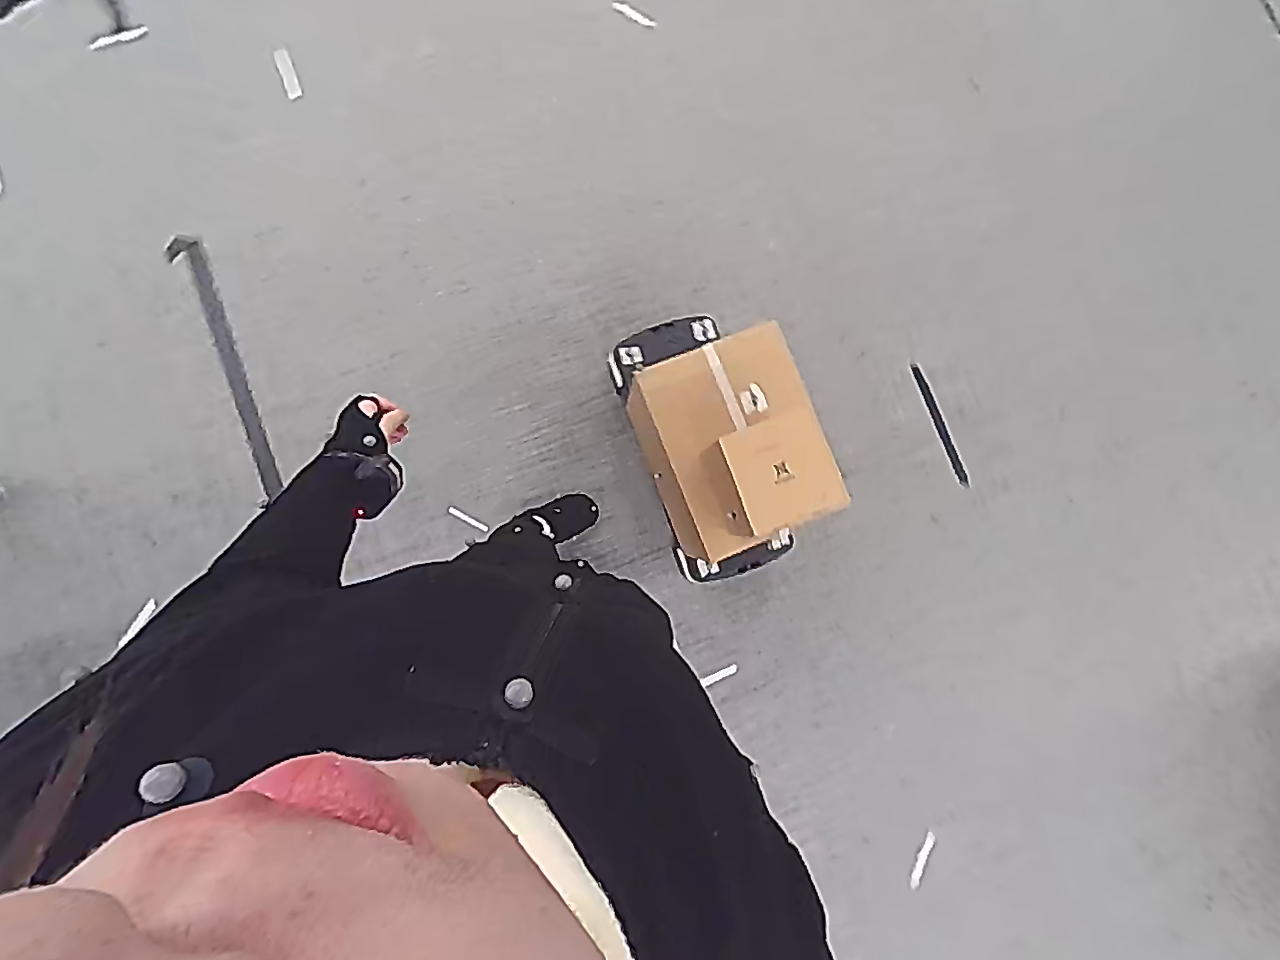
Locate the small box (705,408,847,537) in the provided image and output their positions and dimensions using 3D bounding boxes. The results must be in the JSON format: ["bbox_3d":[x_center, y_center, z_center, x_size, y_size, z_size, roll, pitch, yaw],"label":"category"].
[{"bbox_3d":[0.230,-0.009,0.957,0.168,0.176,0.179,-19,87,-6],"label":"small box"}]

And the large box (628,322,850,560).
[{"bbox_3d":[0.192,-0.068,1.206,0.320,0.320,0.408,-21,87,-7],"label":"large box"}]
